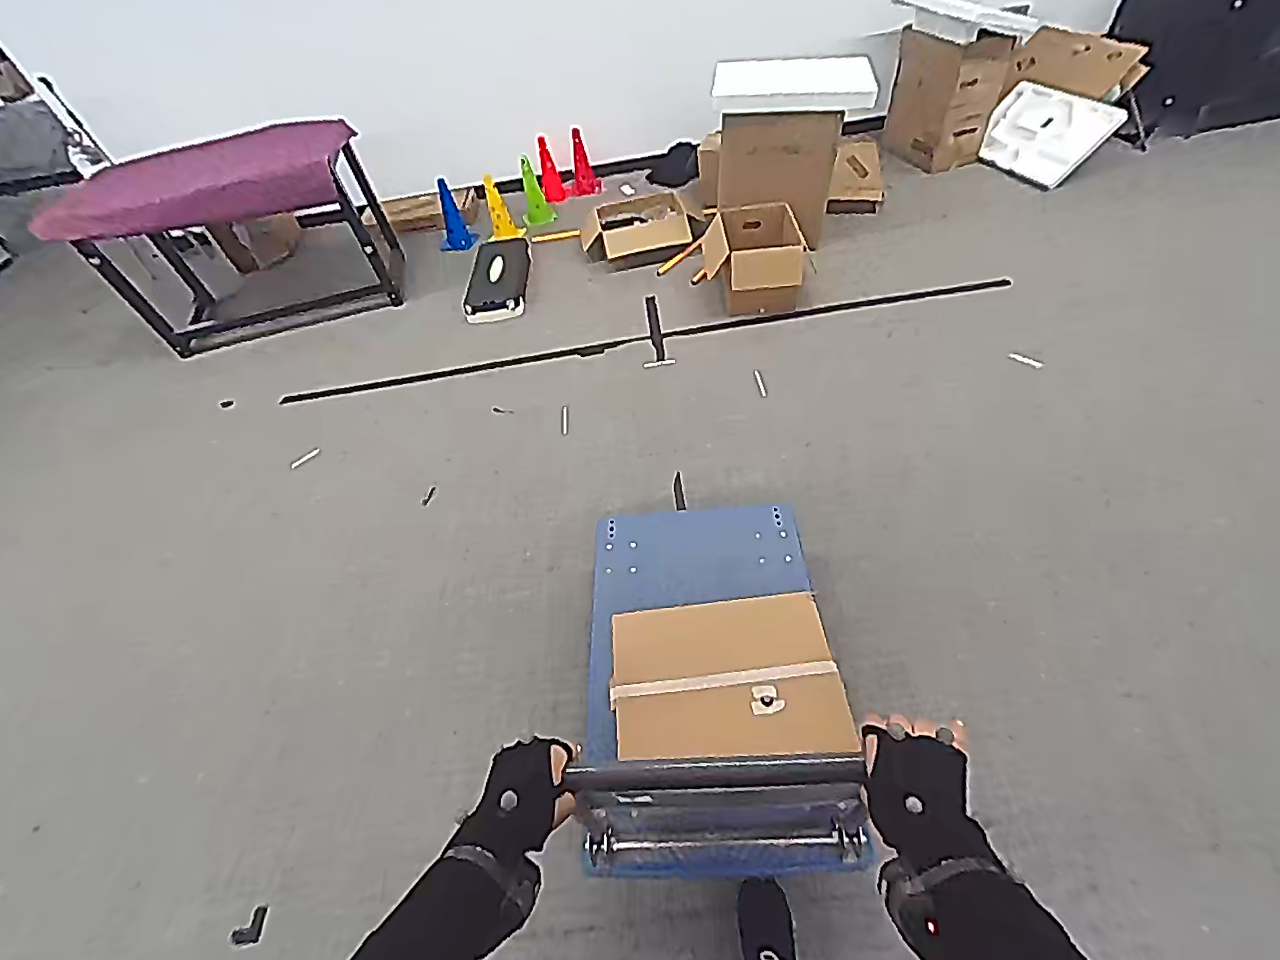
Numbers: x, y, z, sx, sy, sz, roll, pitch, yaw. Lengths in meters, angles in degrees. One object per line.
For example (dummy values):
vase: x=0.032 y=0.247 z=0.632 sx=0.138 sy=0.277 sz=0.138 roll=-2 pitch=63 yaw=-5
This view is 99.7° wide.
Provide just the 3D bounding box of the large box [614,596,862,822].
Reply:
large box: x=0.171 y=0.471 z=1.101 sx=0.408 sy=0.320 sz=0.320 roll=-7 pitch=50 yaw=1
